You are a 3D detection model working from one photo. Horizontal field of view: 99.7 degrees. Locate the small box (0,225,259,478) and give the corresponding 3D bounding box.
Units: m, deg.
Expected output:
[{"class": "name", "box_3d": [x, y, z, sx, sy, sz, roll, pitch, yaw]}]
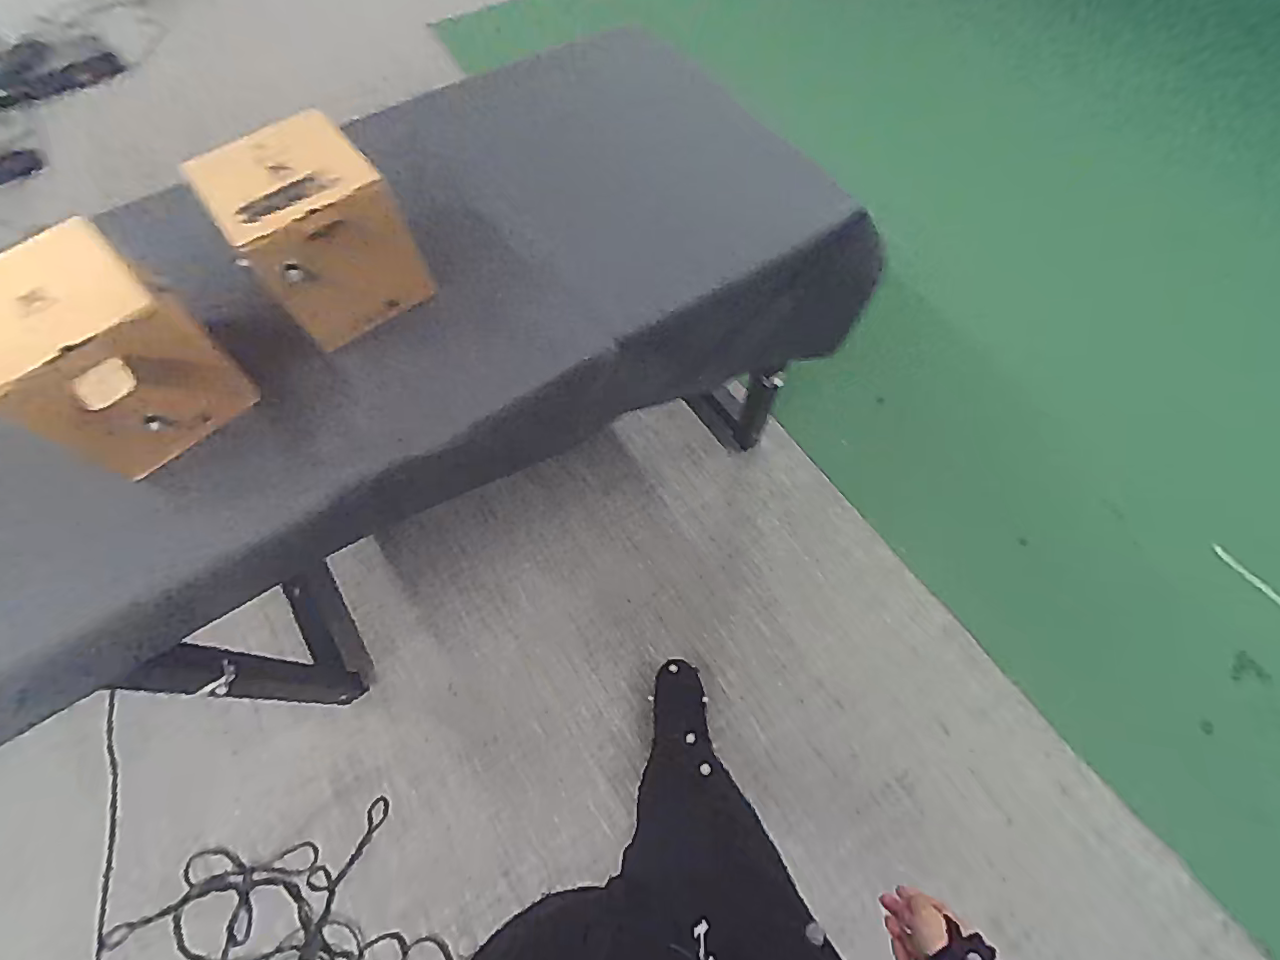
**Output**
[{"class": "small box", "box_3d": [-0.582, -0.133, 0.597, 0.179, 0.176, 0.168, 41, 71, 17]}]
